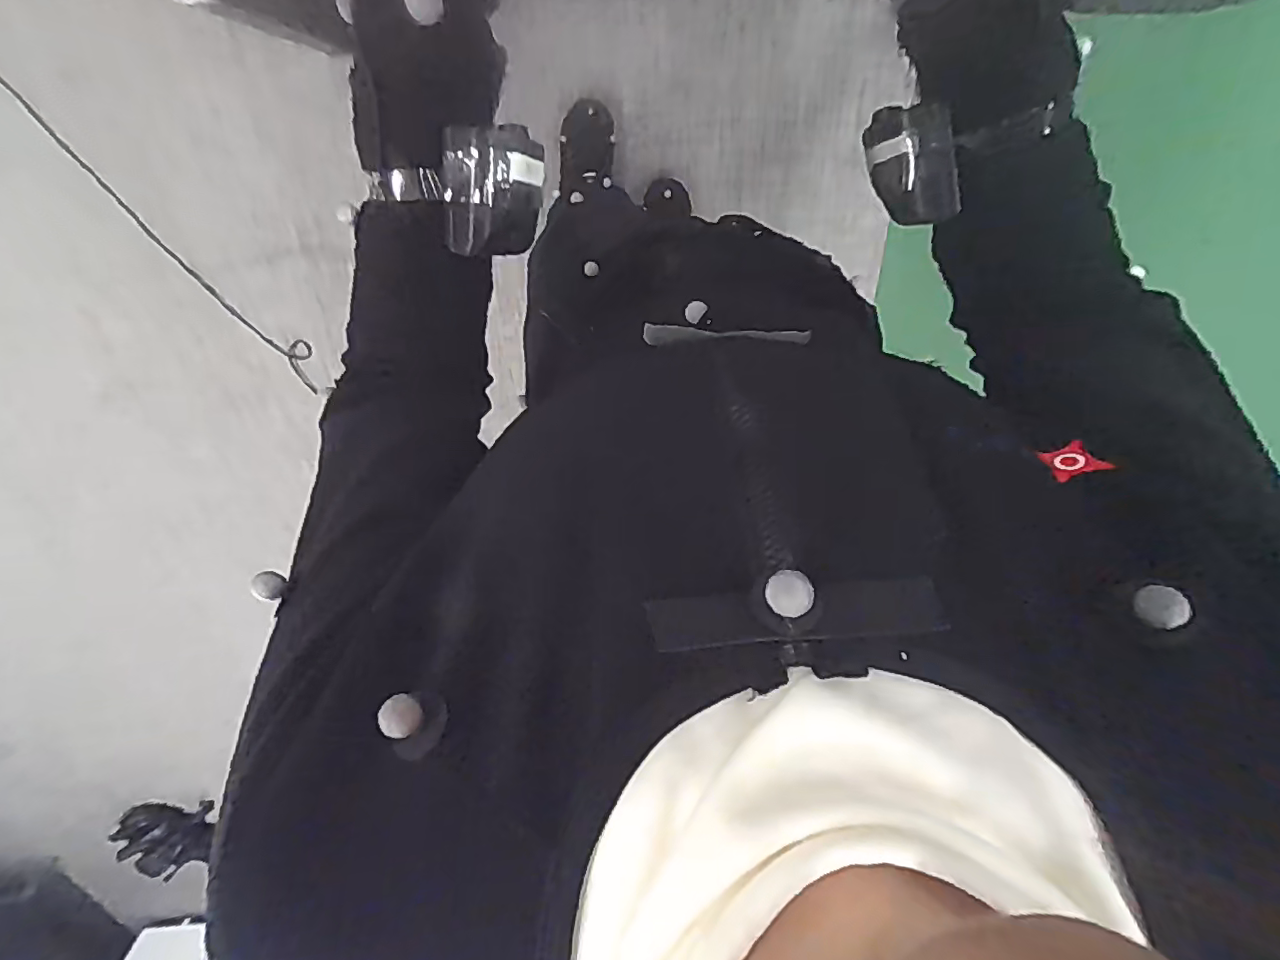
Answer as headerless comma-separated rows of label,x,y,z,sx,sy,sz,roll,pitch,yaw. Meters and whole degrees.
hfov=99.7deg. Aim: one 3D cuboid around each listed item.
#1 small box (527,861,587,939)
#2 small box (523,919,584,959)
small box,-0.276,1.431,1.837,0.168,0.176,0.179,-7,121,1
small box,-0.270,1.519,1.699,0.168,0.176,0.179,-6,121,-1
